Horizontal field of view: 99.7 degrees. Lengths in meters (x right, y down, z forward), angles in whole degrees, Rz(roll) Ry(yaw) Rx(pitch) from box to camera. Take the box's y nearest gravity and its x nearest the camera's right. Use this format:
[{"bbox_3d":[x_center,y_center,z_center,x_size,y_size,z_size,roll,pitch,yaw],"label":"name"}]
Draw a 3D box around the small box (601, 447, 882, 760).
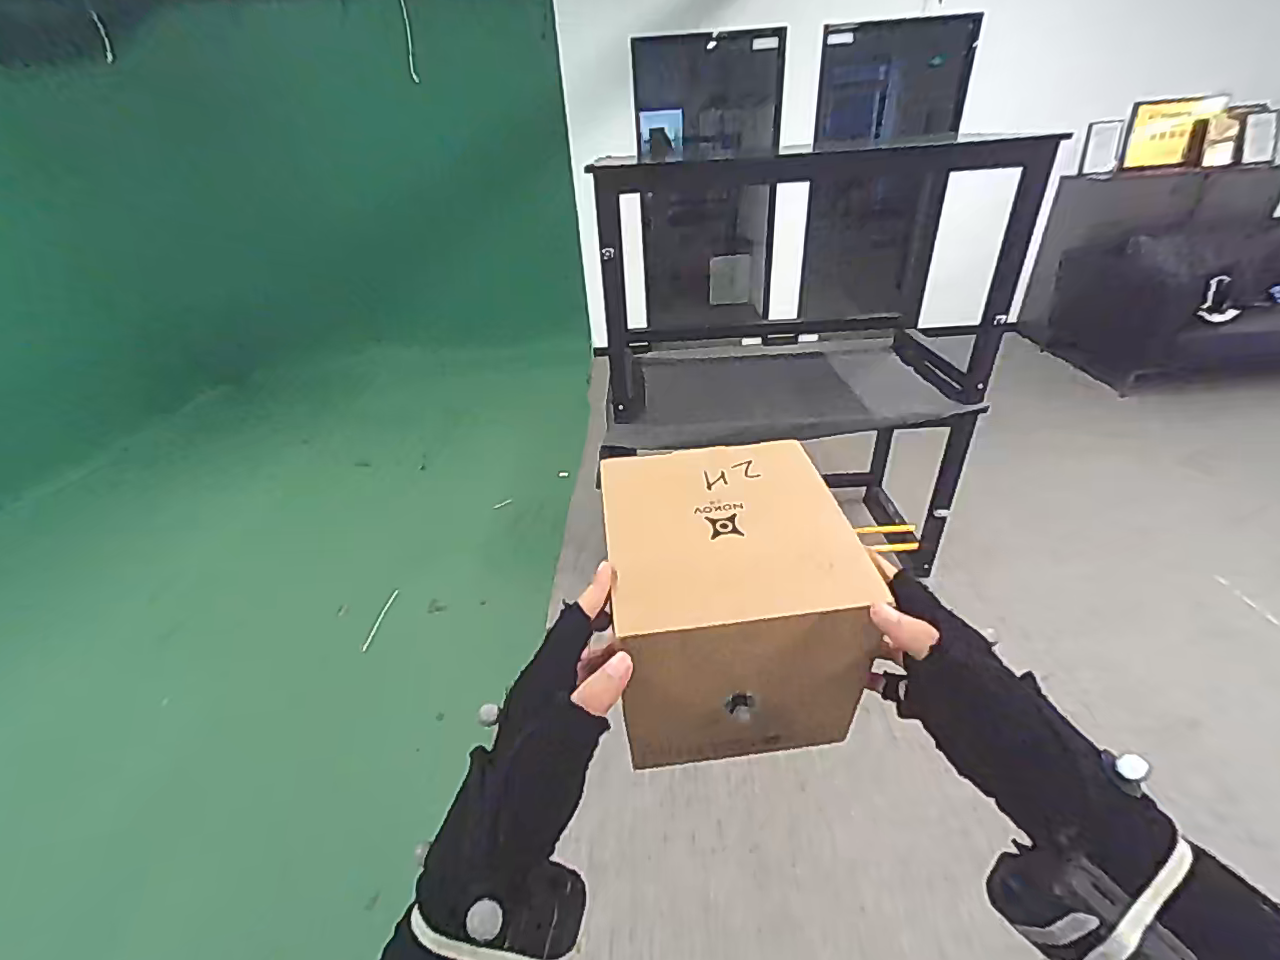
[{"bbox_3d":[0.061,0.097,0.427,0.168,0.176,0.179,-6,37,-3],"label":"small box"}]
